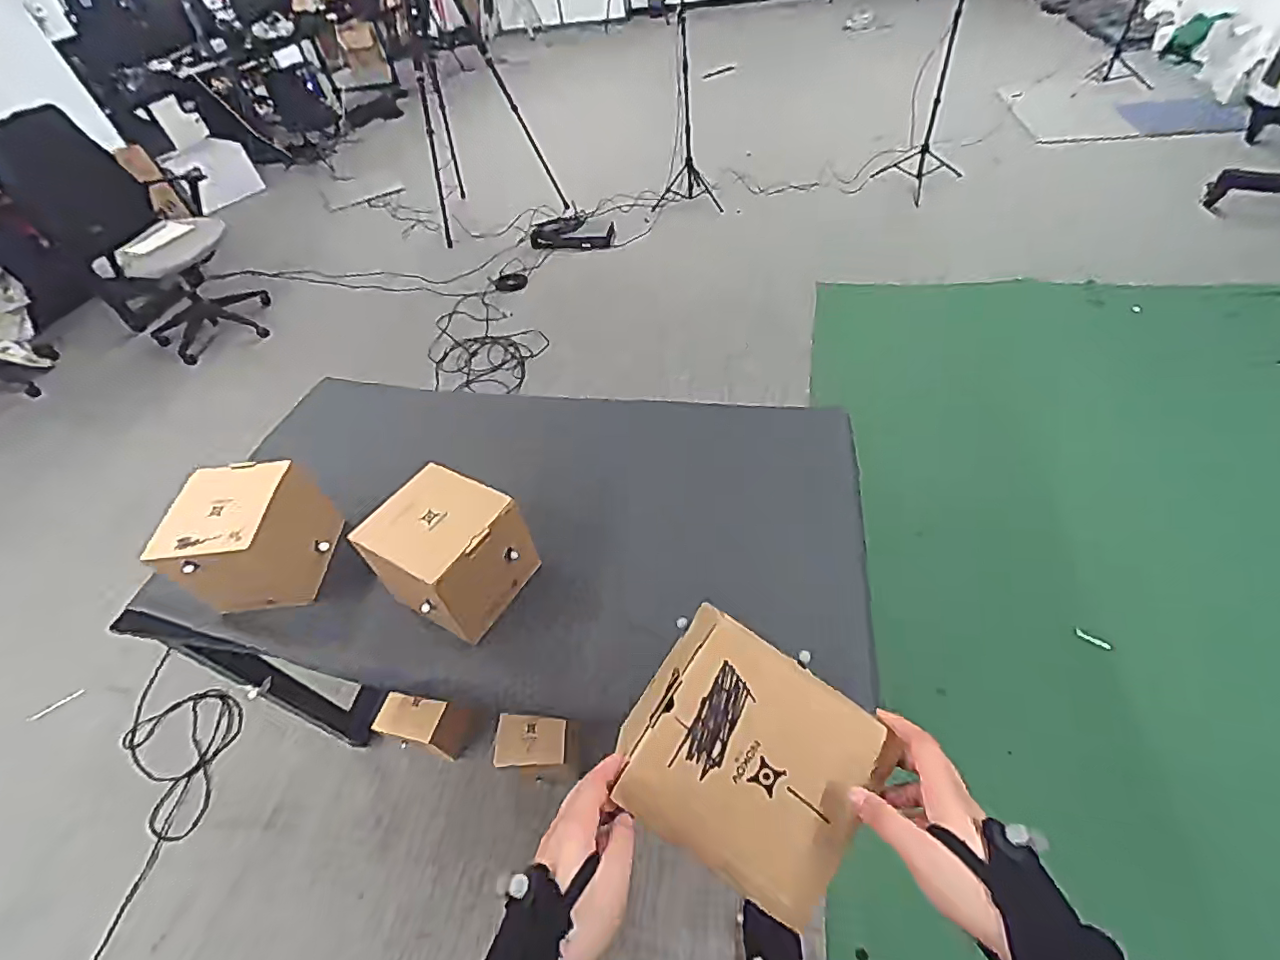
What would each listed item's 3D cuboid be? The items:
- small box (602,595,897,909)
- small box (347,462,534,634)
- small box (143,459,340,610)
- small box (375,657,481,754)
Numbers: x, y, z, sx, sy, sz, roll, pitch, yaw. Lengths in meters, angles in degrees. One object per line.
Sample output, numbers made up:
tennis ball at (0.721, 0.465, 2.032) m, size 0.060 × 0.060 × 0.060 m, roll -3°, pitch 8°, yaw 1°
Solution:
small box at (0.088, 0.221, 0.498) m, size 0.179 × 0.176 × 0.168 m, roll 33°, pitch 84°, yaw 7°
small box at (-0.286, 0.106, 0.817) m, size 0.179 × 0.176 × 0.168 m, roll 19°, pitch 52°, yaw 25°
small box at (-0.627, 0.090, 0.883) m, size 0.168 × 0.176 × 0.179 m, roll -6°, pitch 49°, yaw 4°
small box at (-0.540, 0.592, 1.410) m, size 0.168 × 0.176 × 0.179 m, roll 6°, pitch 51°, yaw 15°
